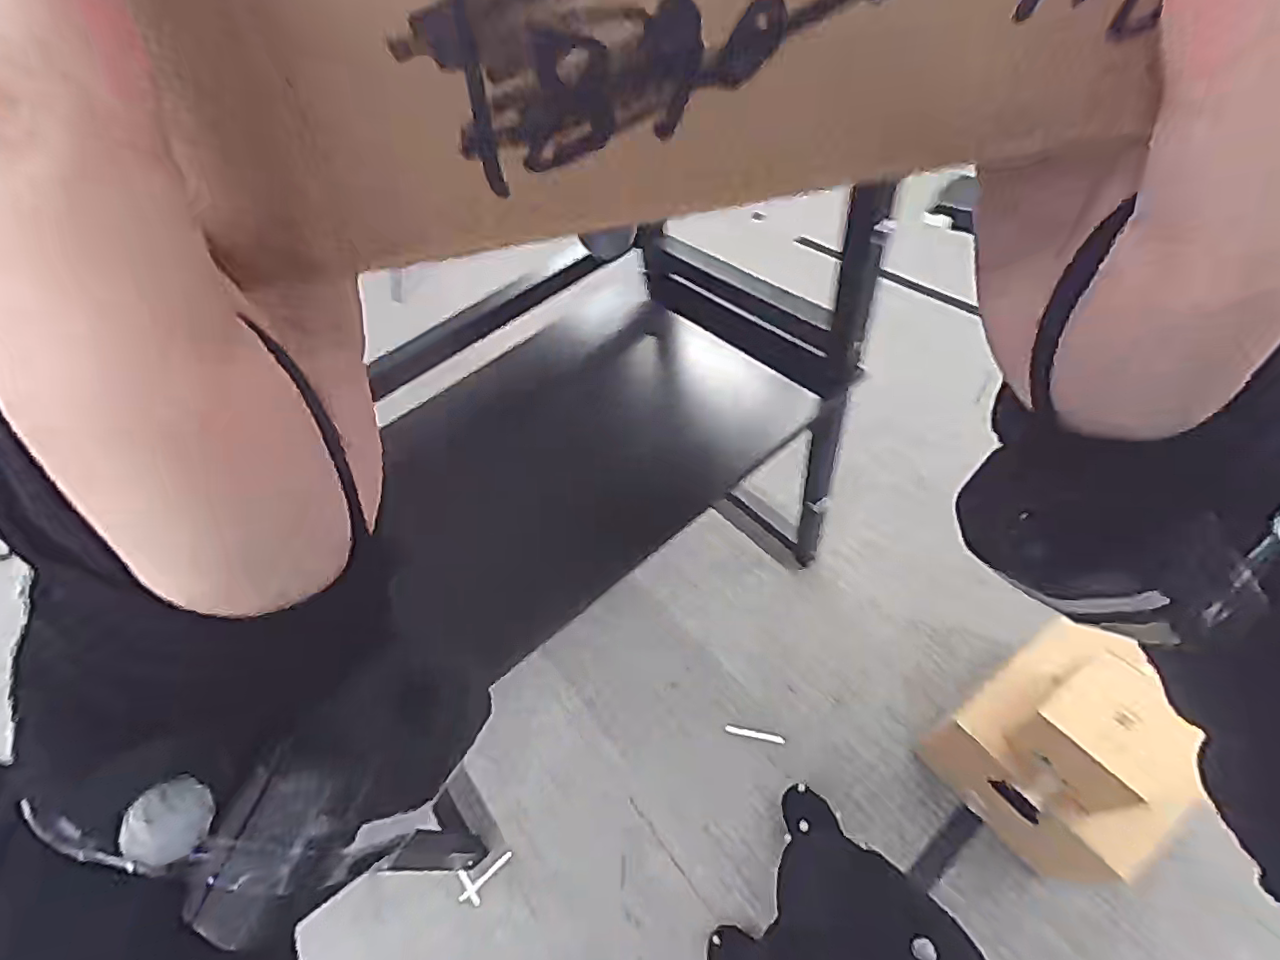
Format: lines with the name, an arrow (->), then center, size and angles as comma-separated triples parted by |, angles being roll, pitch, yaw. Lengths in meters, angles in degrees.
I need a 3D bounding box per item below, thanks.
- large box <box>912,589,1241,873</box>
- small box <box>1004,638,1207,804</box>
large box -> 0.848, 0.512, 1.108 | 0.408, 0.320, 0.320 | -35, 57, -15
small box -> 0.754, 0.403, 0.899 | 0.179, 0.176, 0.168 | -35, 54, -14
